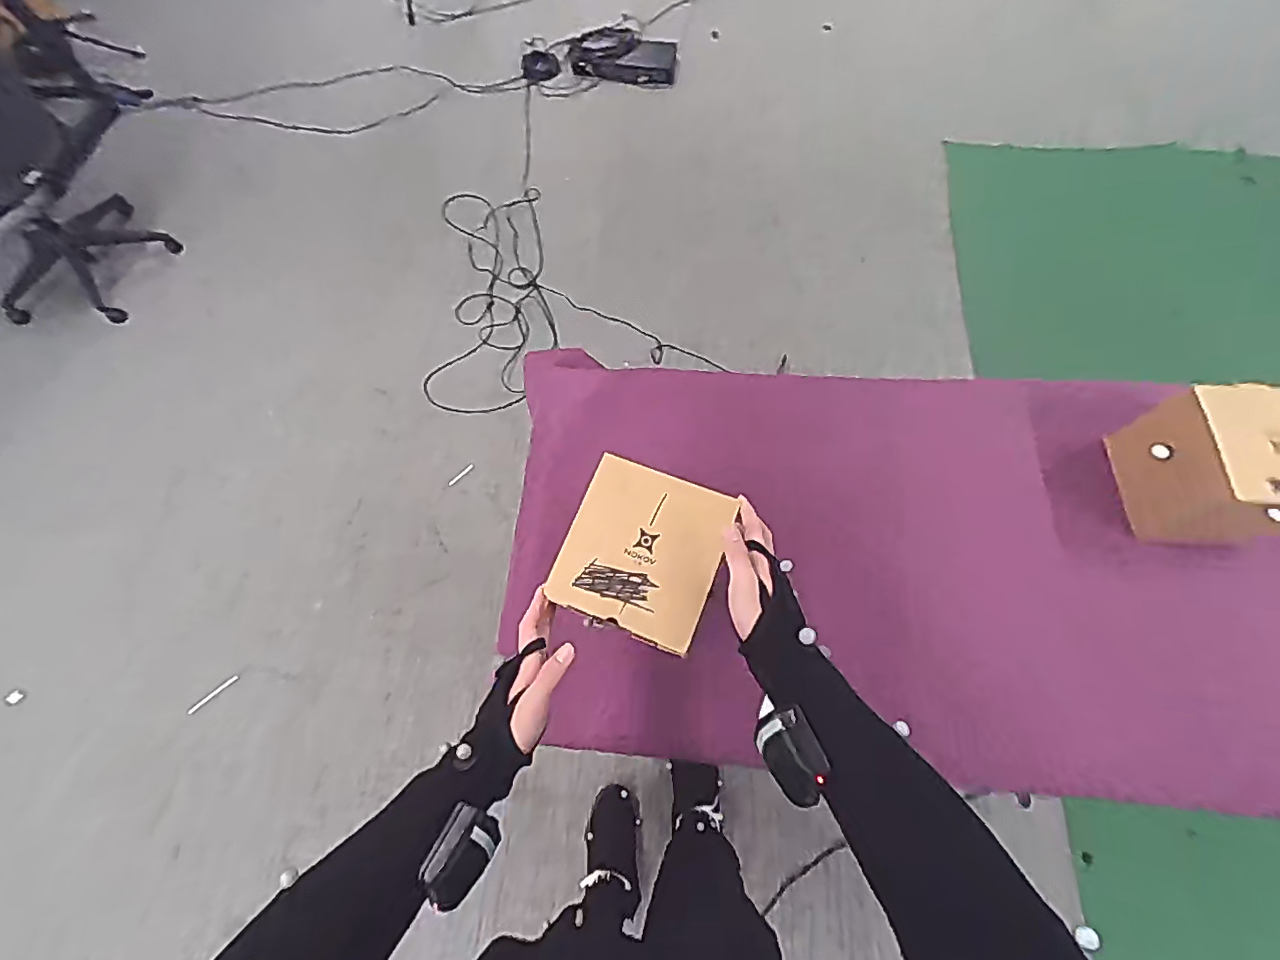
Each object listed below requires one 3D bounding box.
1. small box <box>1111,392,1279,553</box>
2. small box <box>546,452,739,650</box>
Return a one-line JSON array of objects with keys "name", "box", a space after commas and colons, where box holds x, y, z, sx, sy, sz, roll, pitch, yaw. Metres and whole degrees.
[{"name": "small box", "box": [0.842, -0.006, 0.782, 0.168, 0.176, 0.179, 2, 65, 5]}, {"name": "small box", "box": [0.012, 0.095, 0.659, 0.168, 0.176, 0.179, 19, 74, 11]}]
